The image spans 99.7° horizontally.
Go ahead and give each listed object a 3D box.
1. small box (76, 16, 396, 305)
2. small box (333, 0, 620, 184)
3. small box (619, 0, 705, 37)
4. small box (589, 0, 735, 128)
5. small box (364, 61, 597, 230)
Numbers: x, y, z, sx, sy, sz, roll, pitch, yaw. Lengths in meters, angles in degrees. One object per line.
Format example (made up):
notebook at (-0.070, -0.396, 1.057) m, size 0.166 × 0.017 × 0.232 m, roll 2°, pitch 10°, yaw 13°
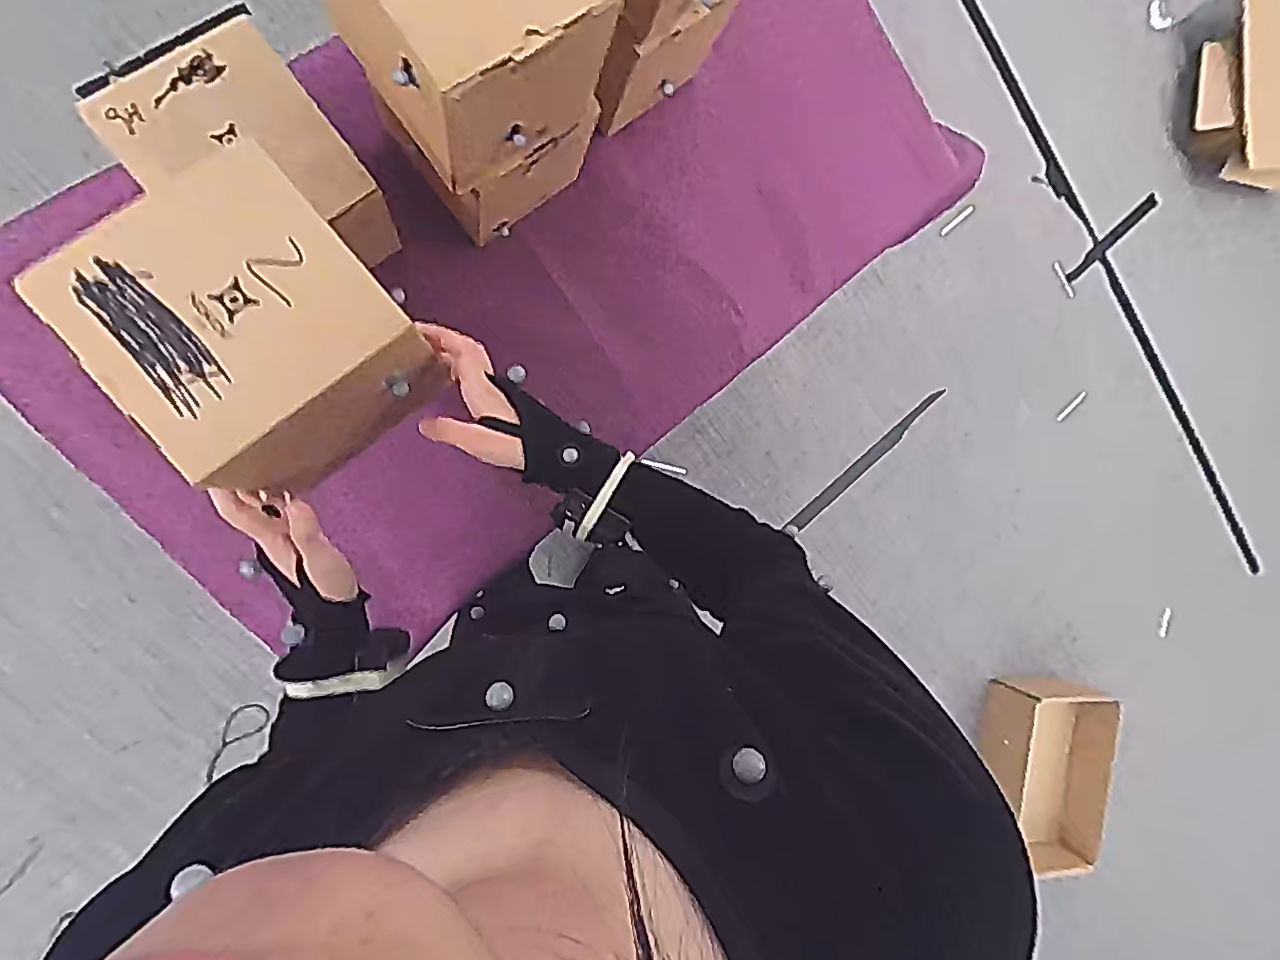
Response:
small box at (-0.382, -0.302, 0.560) m, size 0.168 × 0.176 × 0.179 m, roll -39°, pitch 105°, yaw -10°
small box at (-0.145, -0.396, 0.451) m, size 0.168 × 0.176 × 0.179 m, roll -38°, pitch 104°, yaw -10°
small box at (0.030, -0.571, 0.487) m, size 0.168 × 0.176 × 0.179 m, roll -43°, pitch 105°, yaw -8°
small box at (-0.015, -0.576, 0.644) m, size 0.168 × 0.176 × 0.179 m, roll -40°, pitch 104°, yaw -9°
small box at (-0.176, -0.413, 0.611) m, size 0.168 × 0.176 × 0.179 m, roll -41°, pitch 103°, yaw -9°
